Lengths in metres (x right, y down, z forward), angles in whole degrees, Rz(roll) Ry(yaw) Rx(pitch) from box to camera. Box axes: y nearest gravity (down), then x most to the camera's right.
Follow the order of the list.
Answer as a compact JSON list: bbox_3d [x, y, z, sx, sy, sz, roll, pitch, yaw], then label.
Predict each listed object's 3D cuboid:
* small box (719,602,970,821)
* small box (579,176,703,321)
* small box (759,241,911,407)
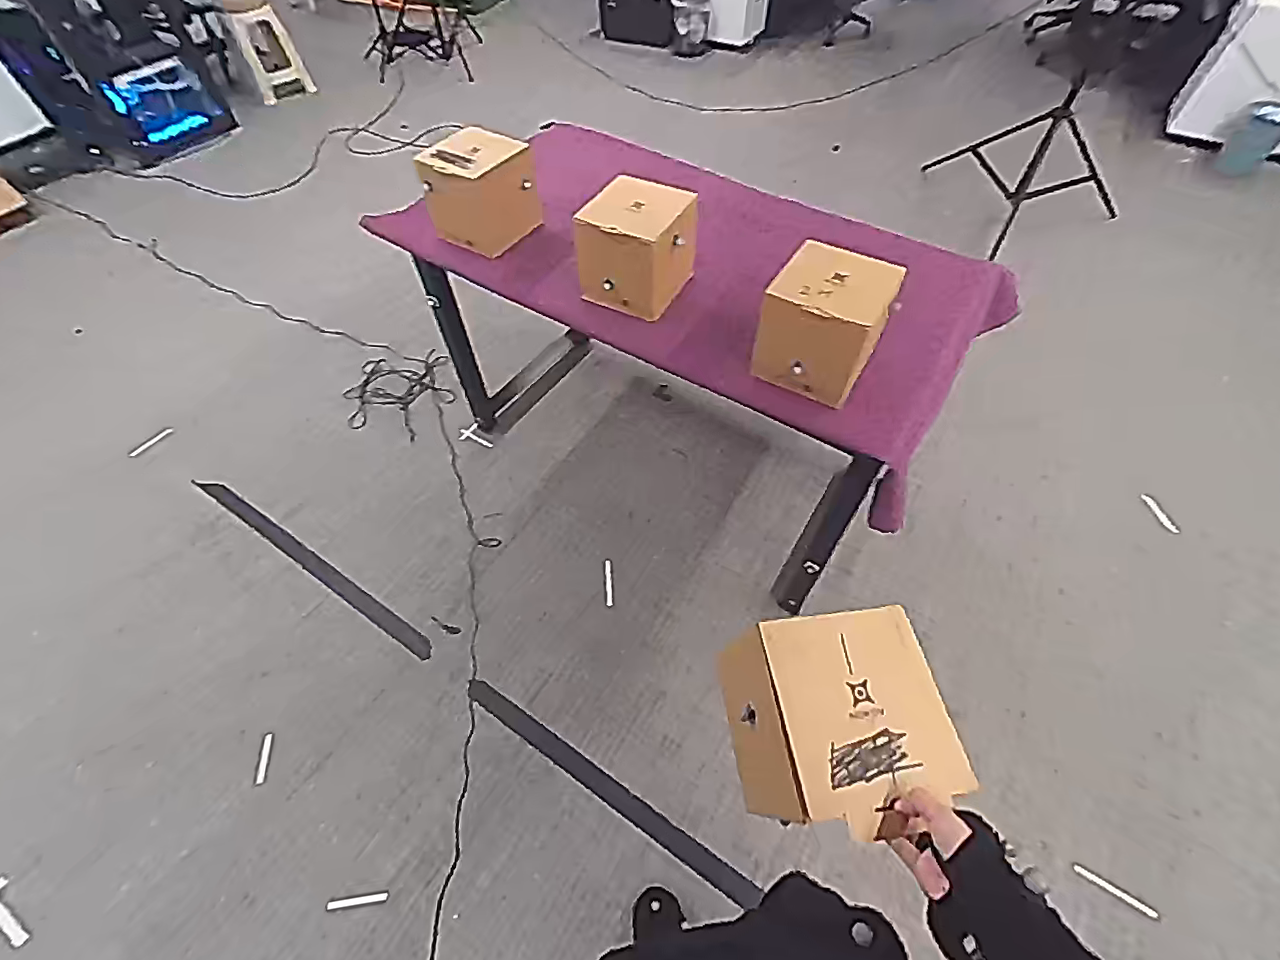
[{"bbox_3d":[0.197,0.246,0.580,0.168,0.176,0.179,-4,61,-11],"label":"small box"},{"bbox_3d":[0.003,-0.437,1.027,0.168,0.176,0.179,24,59,17],"label":"small box"},{"bbox_3d":[0.312,-0.255,0.892,0.168,0.176,0.179,27,59,19],"label":"small box"}]
